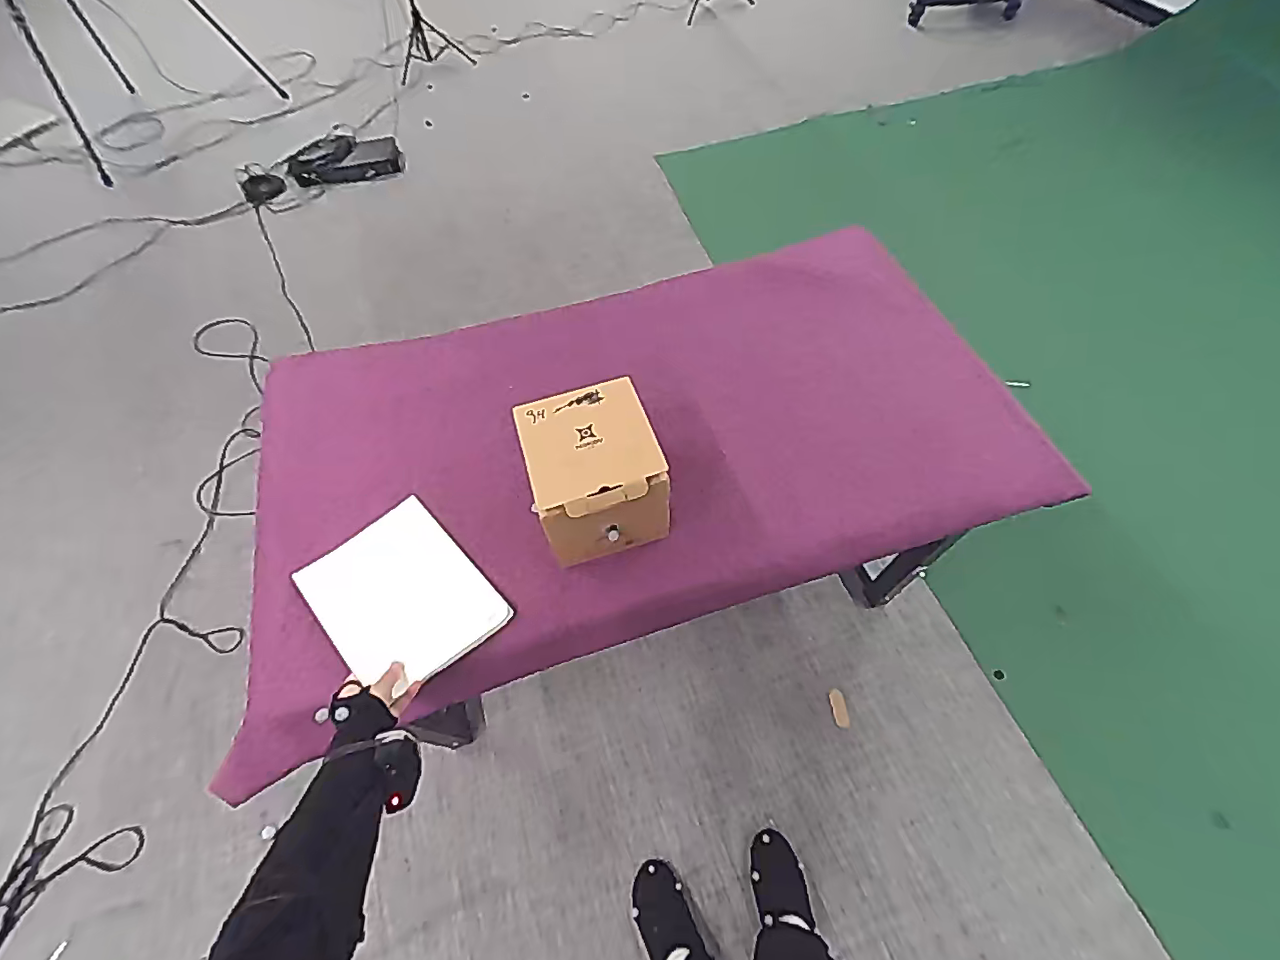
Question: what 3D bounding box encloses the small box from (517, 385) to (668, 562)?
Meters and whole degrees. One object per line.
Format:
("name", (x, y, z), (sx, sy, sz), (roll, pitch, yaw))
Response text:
("small box", (-0.061, 0.001, 0.764), (0.168, 0.176, 0.179), (-16, 60, -7))
